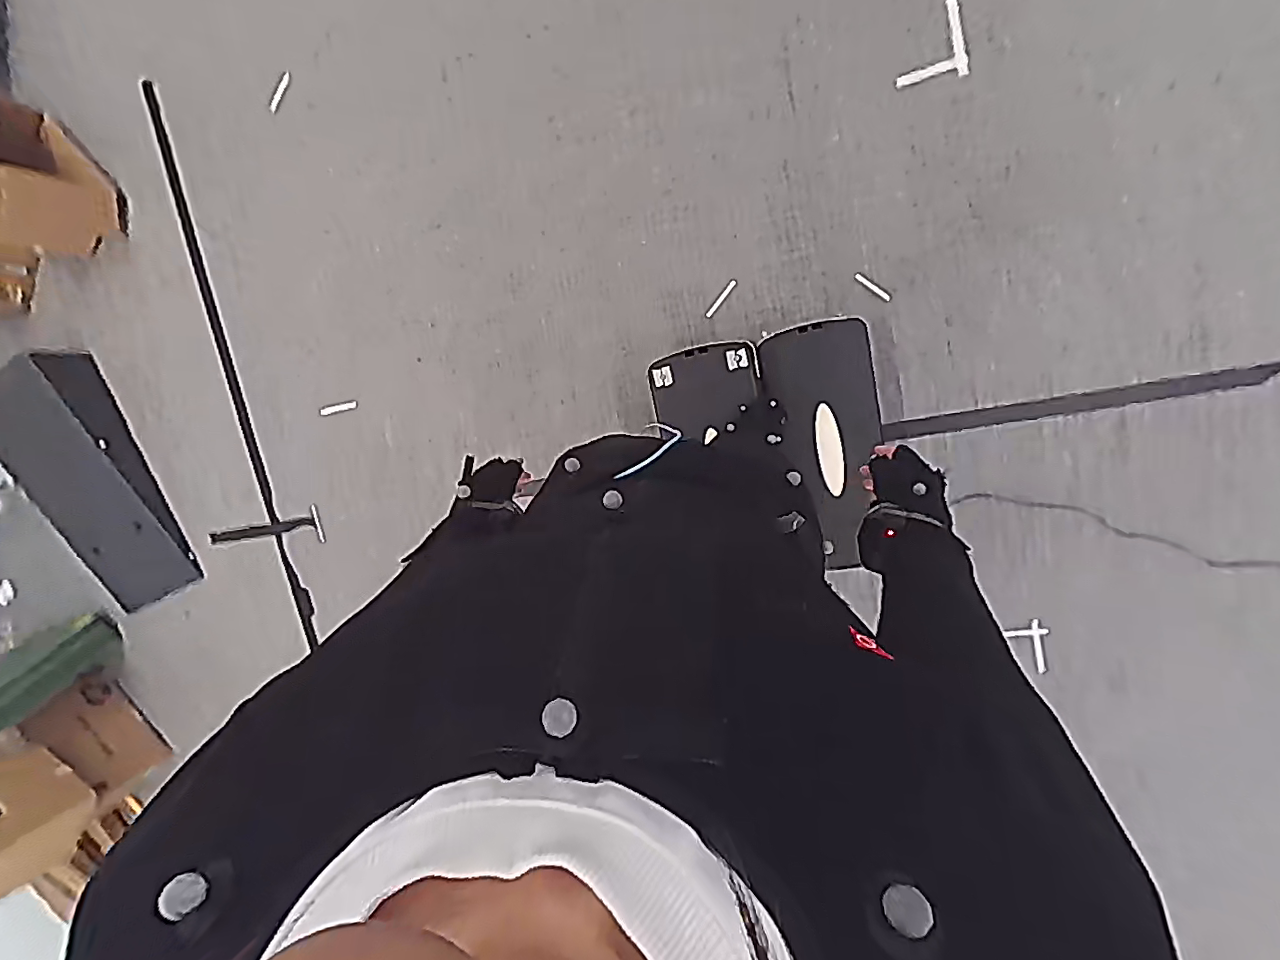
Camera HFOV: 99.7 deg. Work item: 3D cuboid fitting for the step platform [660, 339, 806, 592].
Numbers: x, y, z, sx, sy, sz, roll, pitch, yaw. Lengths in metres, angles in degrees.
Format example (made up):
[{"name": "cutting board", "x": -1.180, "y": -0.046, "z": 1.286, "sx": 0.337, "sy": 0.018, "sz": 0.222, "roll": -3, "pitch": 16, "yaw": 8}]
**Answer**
[{"name": "step platform", "x": 0.262, "y": -0.035, "z": 1.499, "sx": 0.286, "sy": 0.204, "sz": 0.684, "roll": -11, "pitch": 96, "yaw": 15}]
